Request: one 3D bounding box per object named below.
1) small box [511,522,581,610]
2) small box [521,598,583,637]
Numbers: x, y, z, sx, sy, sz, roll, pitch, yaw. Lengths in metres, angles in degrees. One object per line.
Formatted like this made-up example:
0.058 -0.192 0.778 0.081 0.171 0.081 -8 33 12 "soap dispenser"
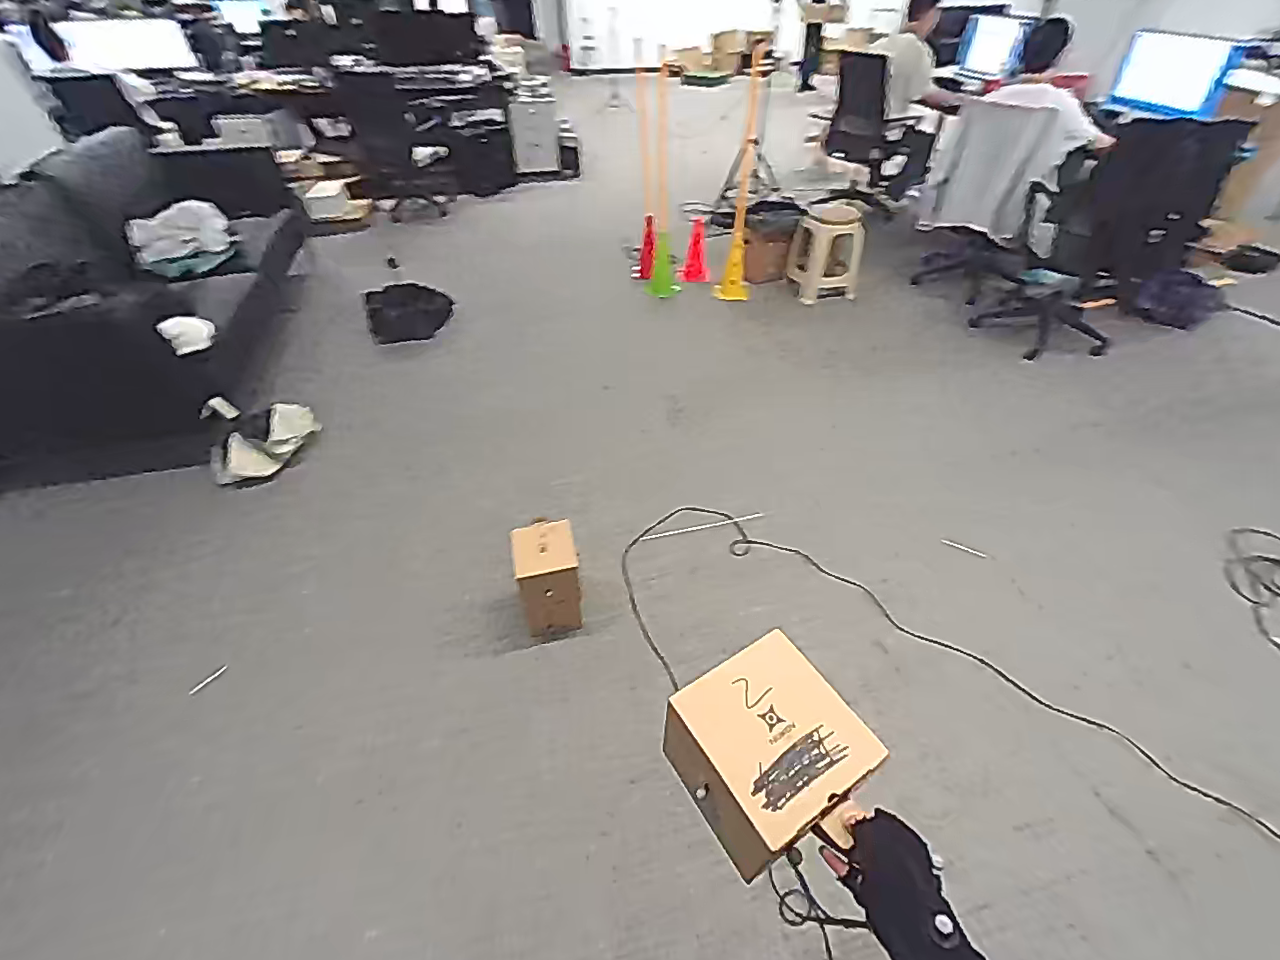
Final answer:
-0.265 0.250 1.532 0.168 0.176 0.179 -10 45 -9 "small box"
-0.271 0.355 1.660 0.168 0.176 0.179 -8 45 -6 "small box"
